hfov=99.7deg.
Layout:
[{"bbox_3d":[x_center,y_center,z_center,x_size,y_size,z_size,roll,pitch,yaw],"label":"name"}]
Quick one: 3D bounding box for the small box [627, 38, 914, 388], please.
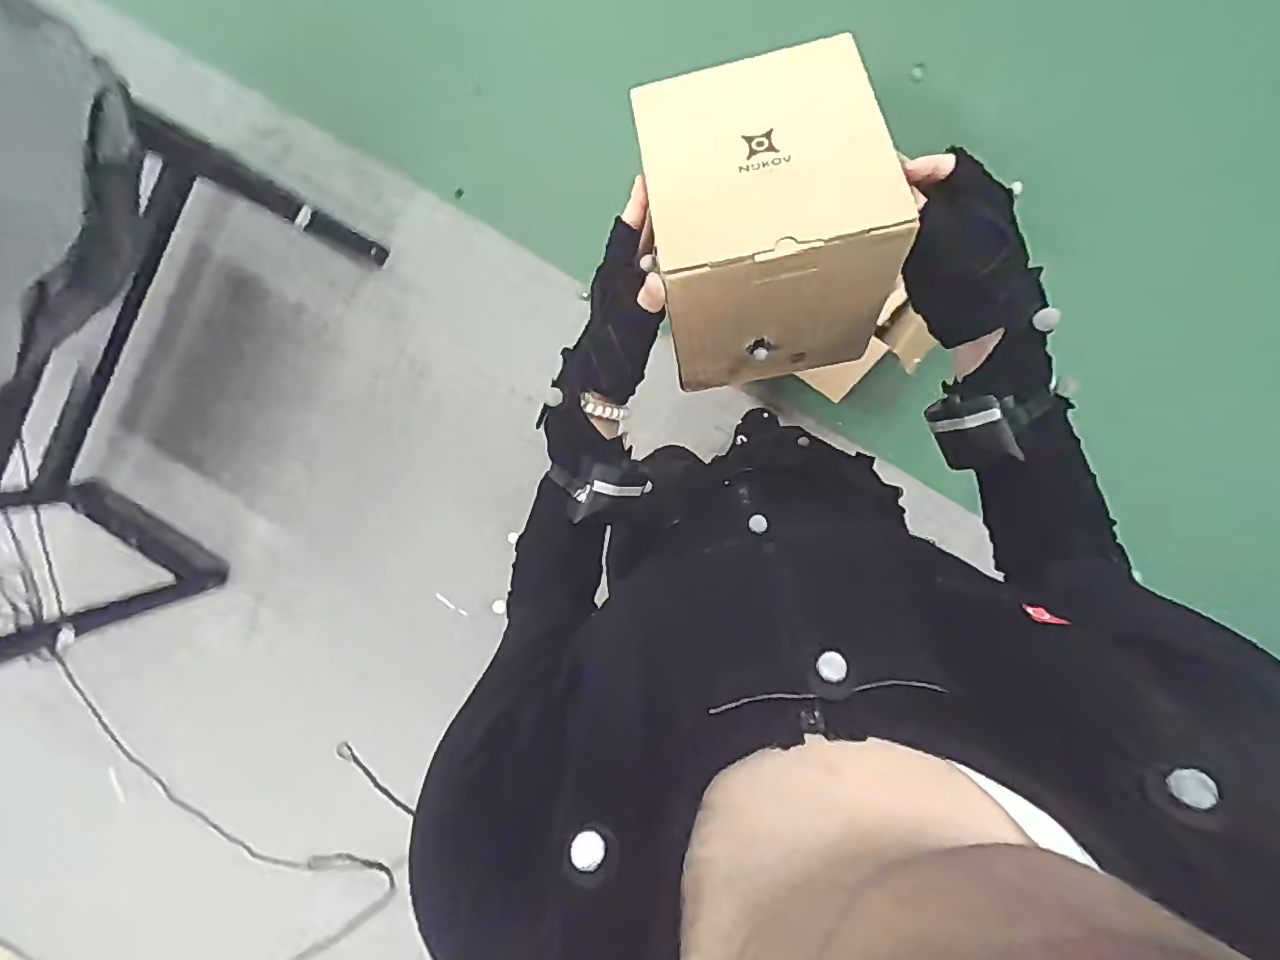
[{"bbox_3d":[0.091,-0.201,0.447,0.168,0.176,0.179,-11,73,5],"label":"small box"}]
